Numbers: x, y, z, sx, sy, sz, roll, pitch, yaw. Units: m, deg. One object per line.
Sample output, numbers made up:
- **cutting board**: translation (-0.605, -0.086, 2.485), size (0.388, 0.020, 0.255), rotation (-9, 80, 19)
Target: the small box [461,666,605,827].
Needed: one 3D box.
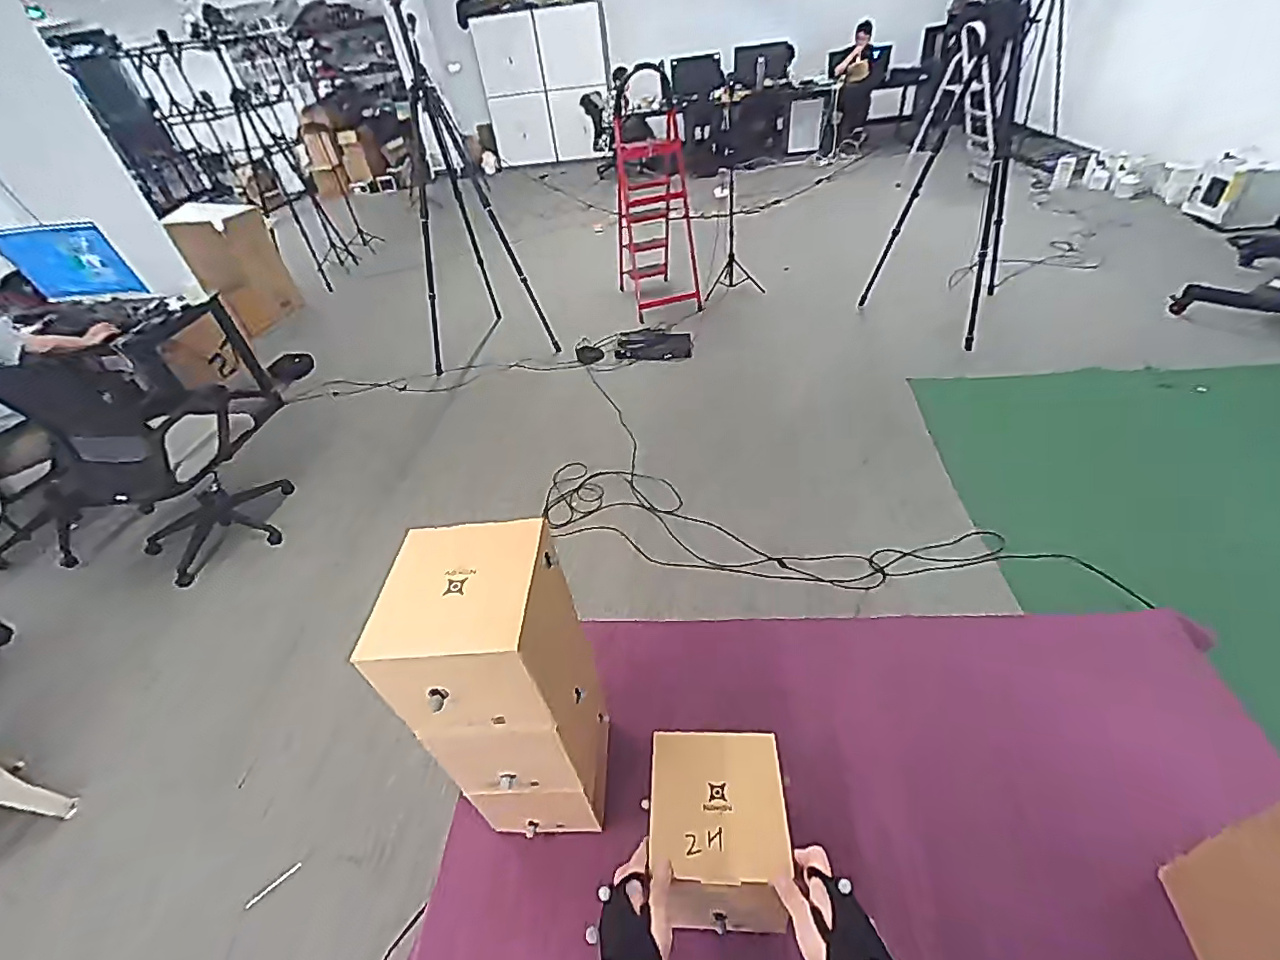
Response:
- **small box**: translation (-0.150, 0.408, 0.832), size (0.168, 0.176, 0.179), rotation (-4, 42, 5)

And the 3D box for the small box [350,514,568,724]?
- **small box**: translation (-0.185, 0.163, 0.620), size (0.168, 0.176, 0.179), rotation (-5, 41, 5)

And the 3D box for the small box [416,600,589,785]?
- **small box**: translation (-0.166, 0.285, 0.726), size (0.168, 0.176, 0.179), rotation (-5, 42, 5)

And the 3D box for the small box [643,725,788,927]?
- **small box**: translation (0.096, 0.455, 0.720), size (0.168, 0.176, 0.179), rotation (-2, 37, 6)
